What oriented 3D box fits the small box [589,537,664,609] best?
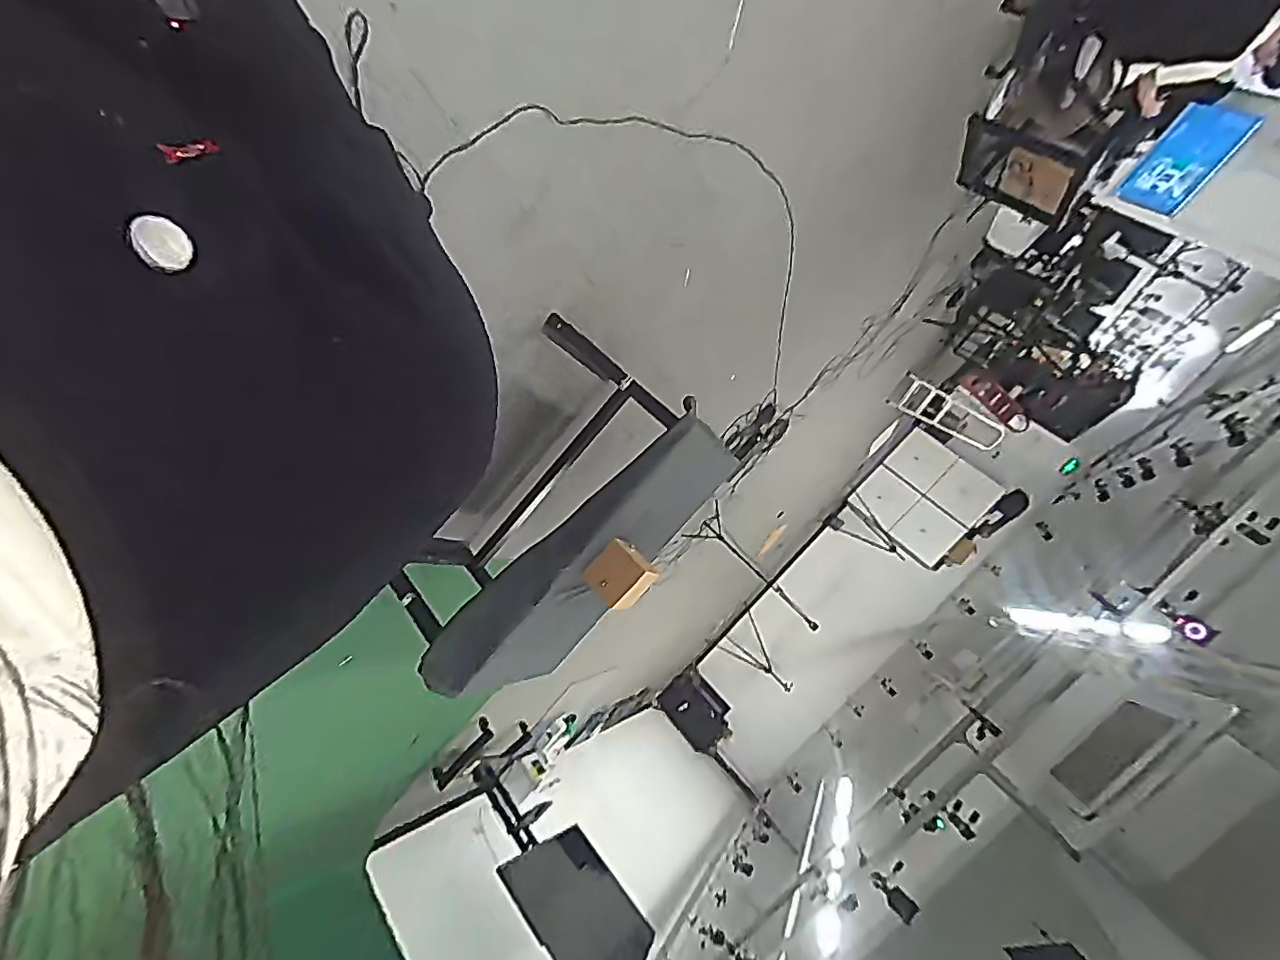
[{"bbox_3d":[-0.053,0.321,1.859,0.179,0.176,0.168,-49,157,3],"label":"small box"}]
